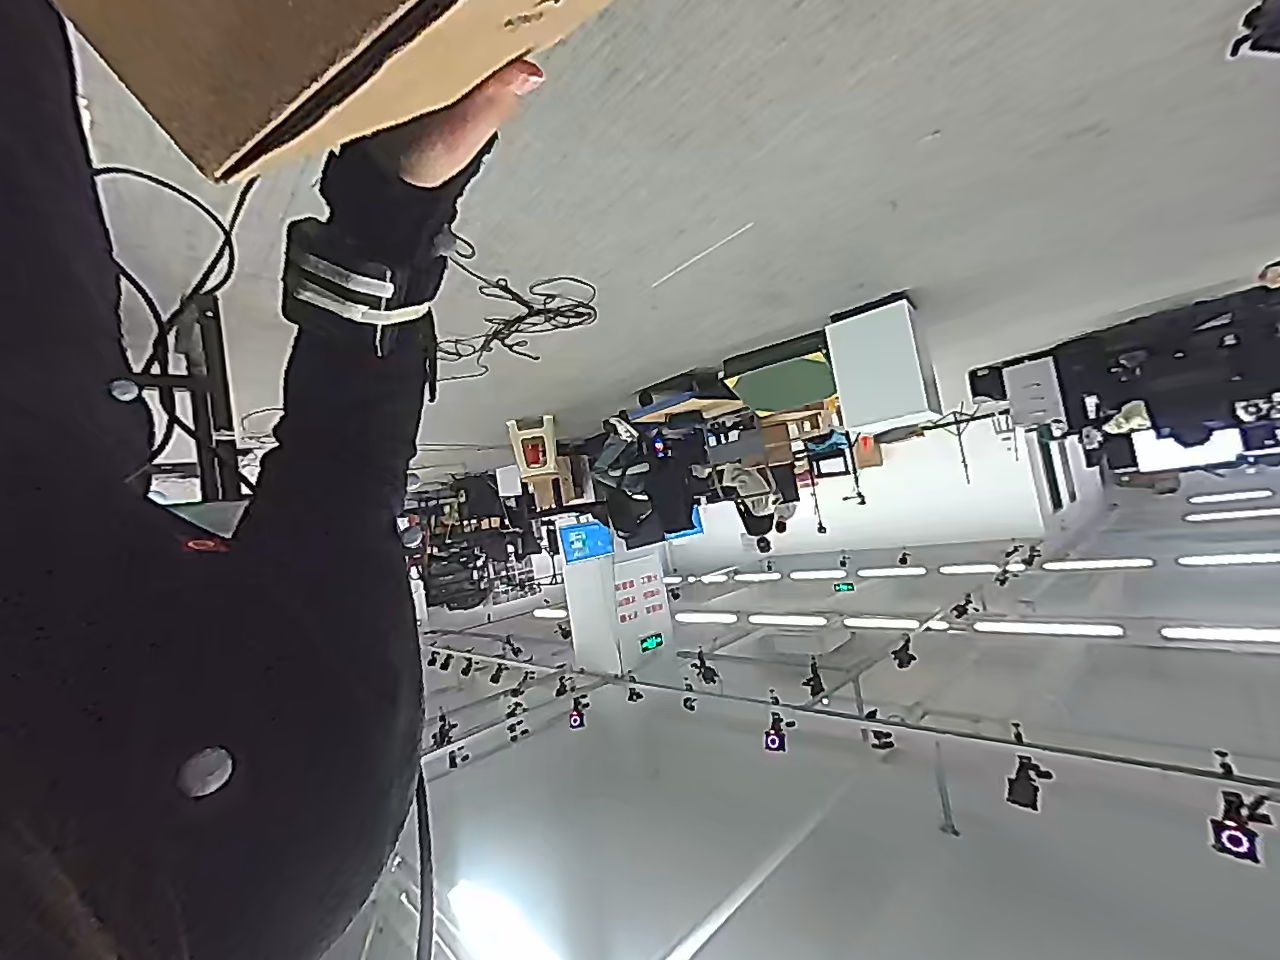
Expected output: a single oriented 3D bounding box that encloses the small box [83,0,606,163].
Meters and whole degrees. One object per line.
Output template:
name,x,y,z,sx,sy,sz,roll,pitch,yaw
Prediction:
small box,-0.067,-0.219,0.131,0.179,0.176,0.168,-11,-142,28
